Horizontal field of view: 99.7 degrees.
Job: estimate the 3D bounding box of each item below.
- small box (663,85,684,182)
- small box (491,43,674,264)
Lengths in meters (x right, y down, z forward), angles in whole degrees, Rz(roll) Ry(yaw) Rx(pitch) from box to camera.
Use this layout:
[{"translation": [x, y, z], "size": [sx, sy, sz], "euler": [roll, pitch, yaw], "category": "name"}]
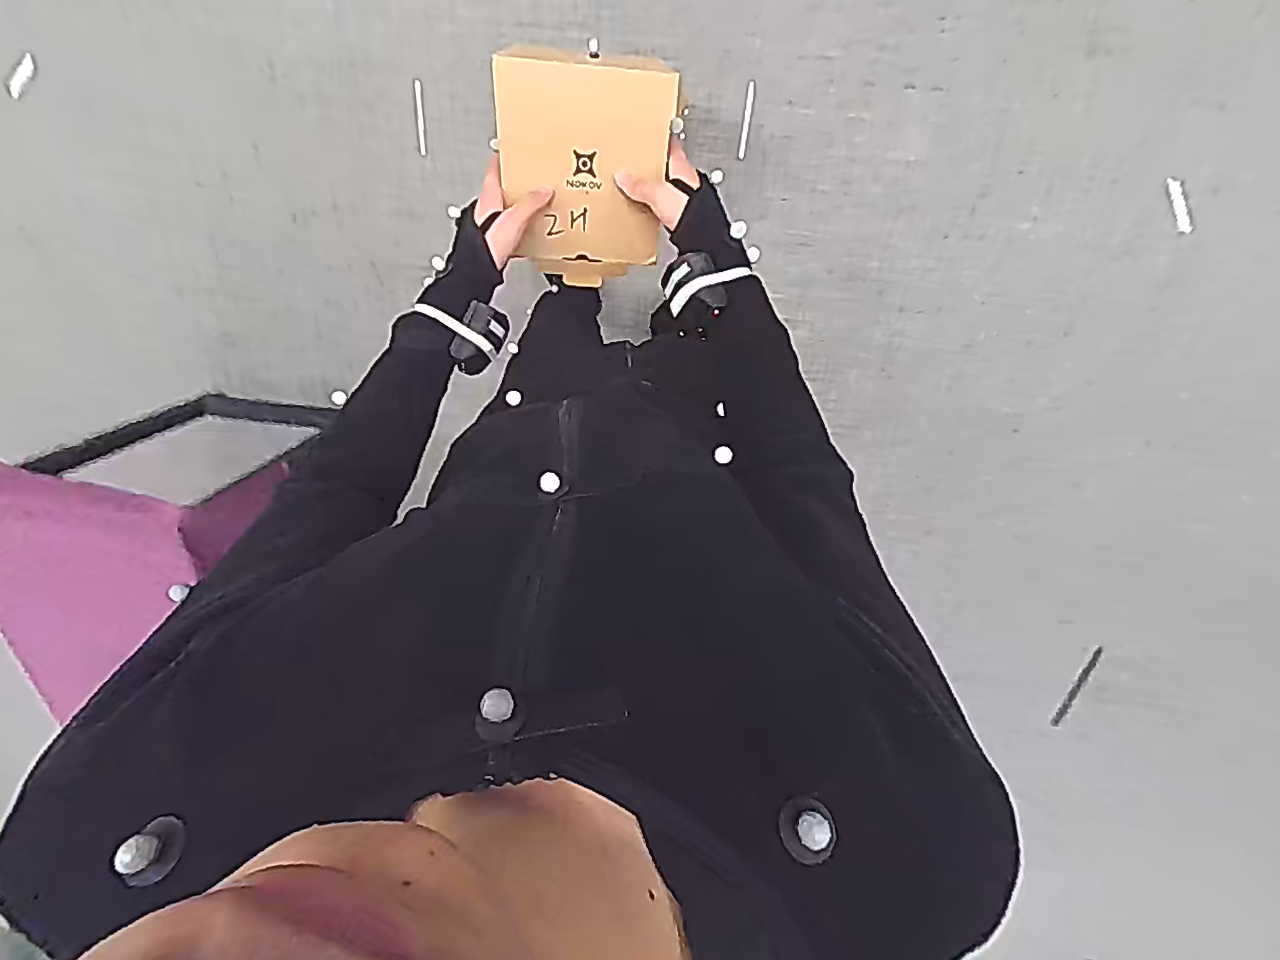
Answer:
[{"translation": [0.012, -0.782, 1.231], "size": [0.168, 0.176, 0.179], "euler": [4, 117, 5], "category": "small box"}, {"translation": [-0.061, -0.358, 0.590], "size": [0.168, 0.176, 0.179], "euler": [2, 131, -5], "category": "small box"}]
